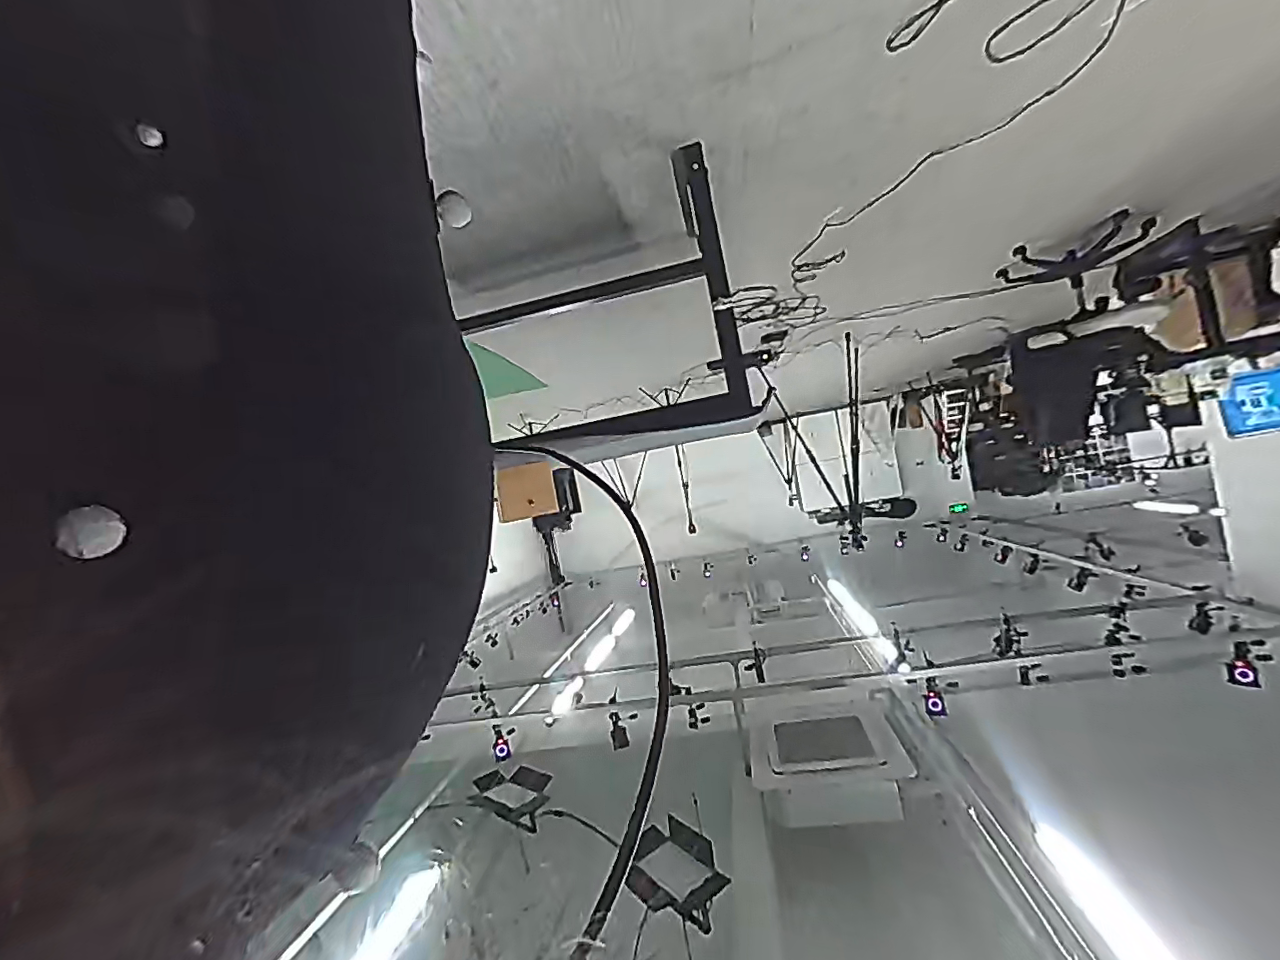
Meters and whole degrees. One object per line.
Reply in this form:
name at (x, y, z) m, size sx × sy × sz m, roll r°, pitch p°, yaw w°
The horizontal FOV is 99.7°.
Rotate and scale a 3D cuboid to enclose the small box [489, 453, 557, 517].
small box at (-0.378, 0.017, 1.720) m, size 0.179 × 0.176 × 0.168 m, roll -12°, pitch -179°, yaw -20°
